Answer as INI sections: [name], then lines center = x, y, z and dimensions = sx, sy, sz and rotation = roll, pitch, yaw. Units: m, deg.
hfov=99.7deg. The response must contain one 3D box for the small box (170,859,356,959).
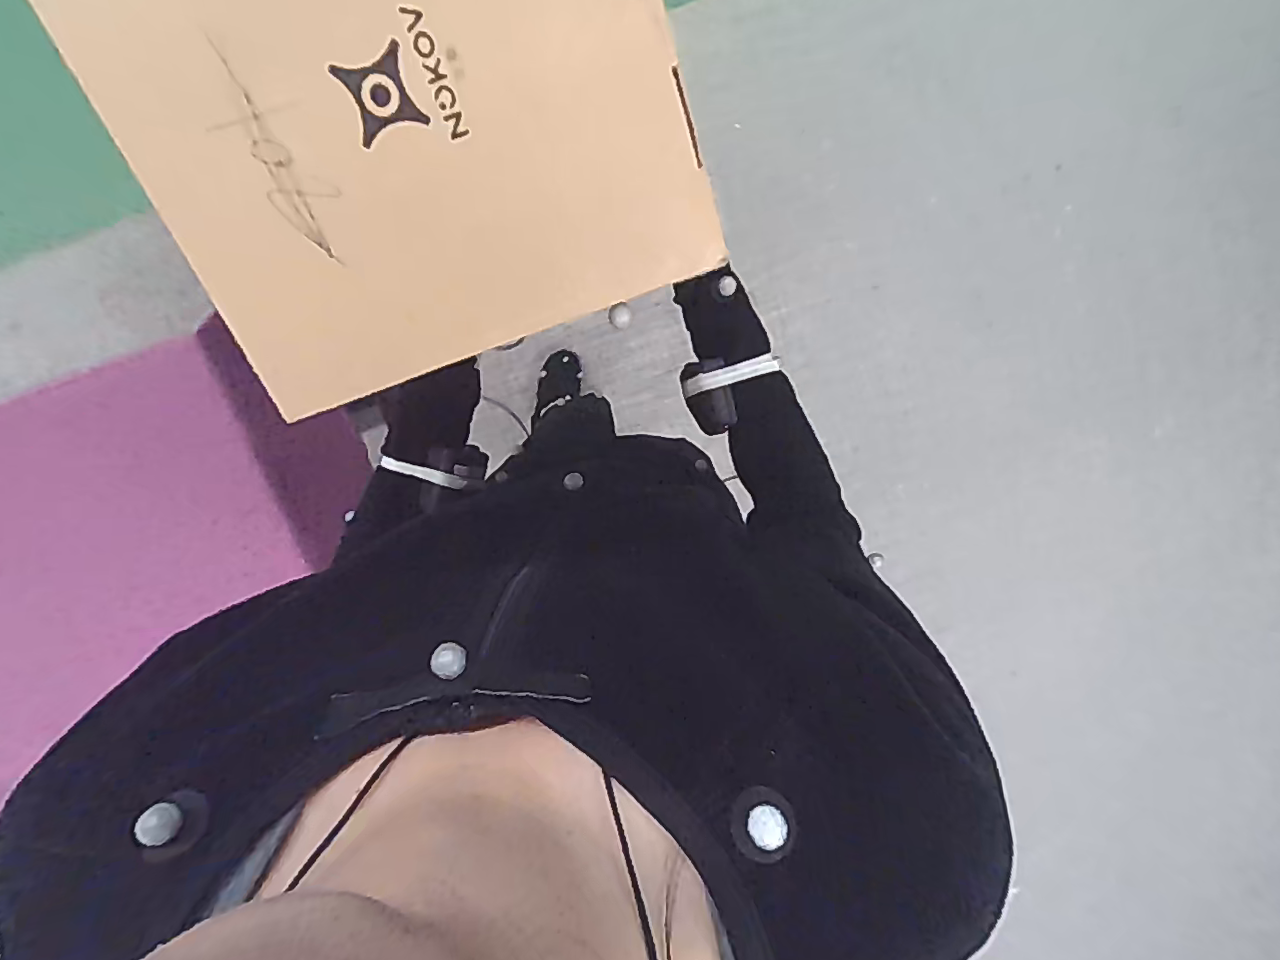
[small box]
center = -0.540, 0.690, 0.770
dimensions = 0.179, 0.176, 0.168
rotation = -20, 98, 2
